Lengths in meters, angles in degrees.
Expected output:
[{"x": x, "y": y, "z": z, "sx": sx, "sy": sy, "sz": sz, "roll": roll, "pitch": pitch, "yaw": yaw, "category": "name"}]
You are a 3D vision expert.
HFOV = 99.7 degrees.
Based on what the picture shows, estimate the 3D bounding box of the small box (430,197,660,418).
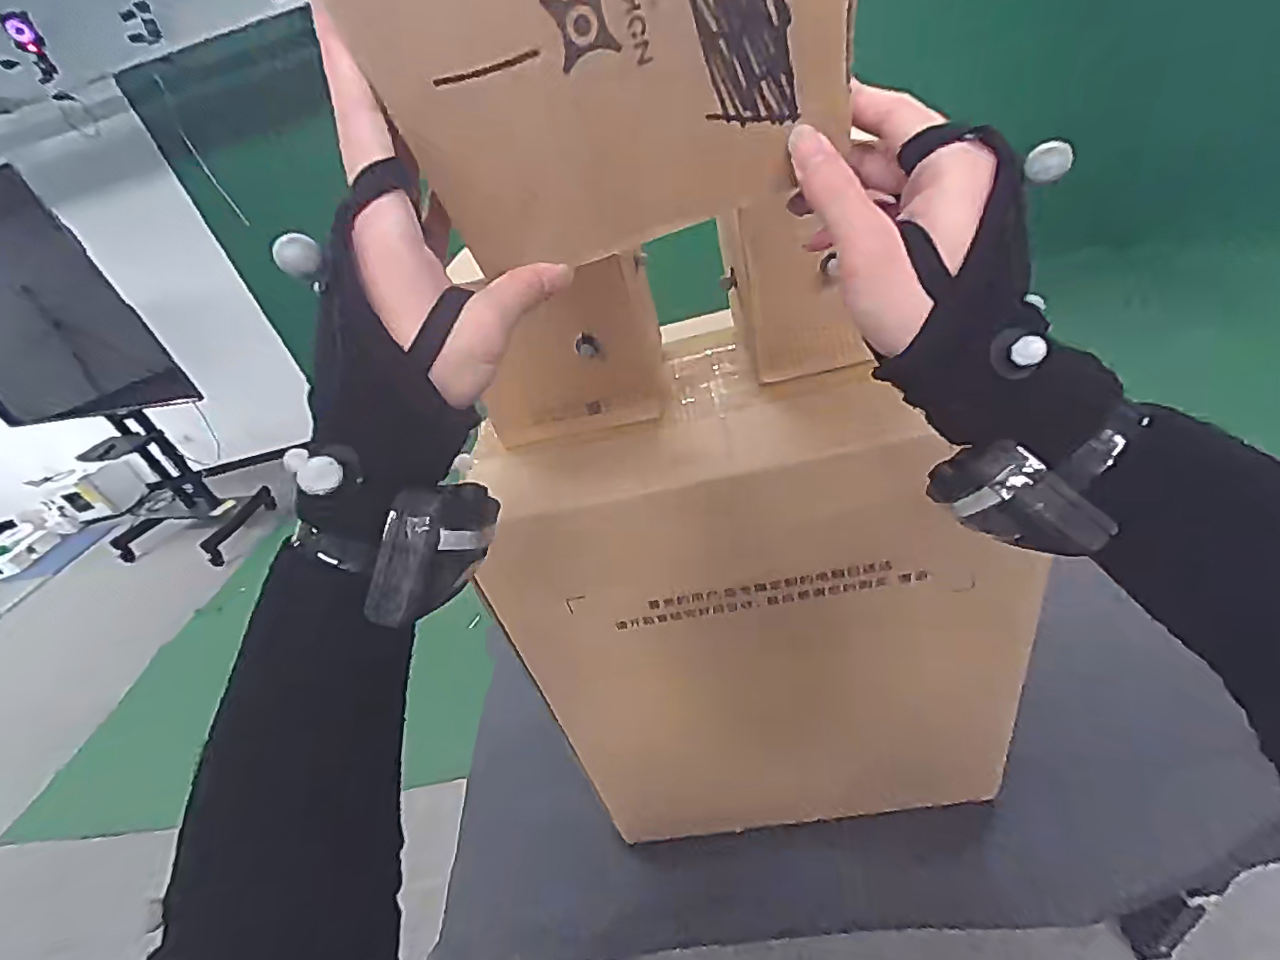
[{"x": -0.074, "y": -0.173, "z": 0.539, "sx": 0.168, "sy": 0.176, "sz": 0.179, "roll": -8, "pitch": 37, "yaw": 8, "category": "small box"}]

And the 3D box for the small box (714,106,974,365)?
[{"x": 0.179, "y": -0.228, "z": 0.512, "sx": 0.179, "sy": 0.176, "sz": 0.168, "roll": -12, "pitch": 38, "yaw": 7, "category": "small box"}]
